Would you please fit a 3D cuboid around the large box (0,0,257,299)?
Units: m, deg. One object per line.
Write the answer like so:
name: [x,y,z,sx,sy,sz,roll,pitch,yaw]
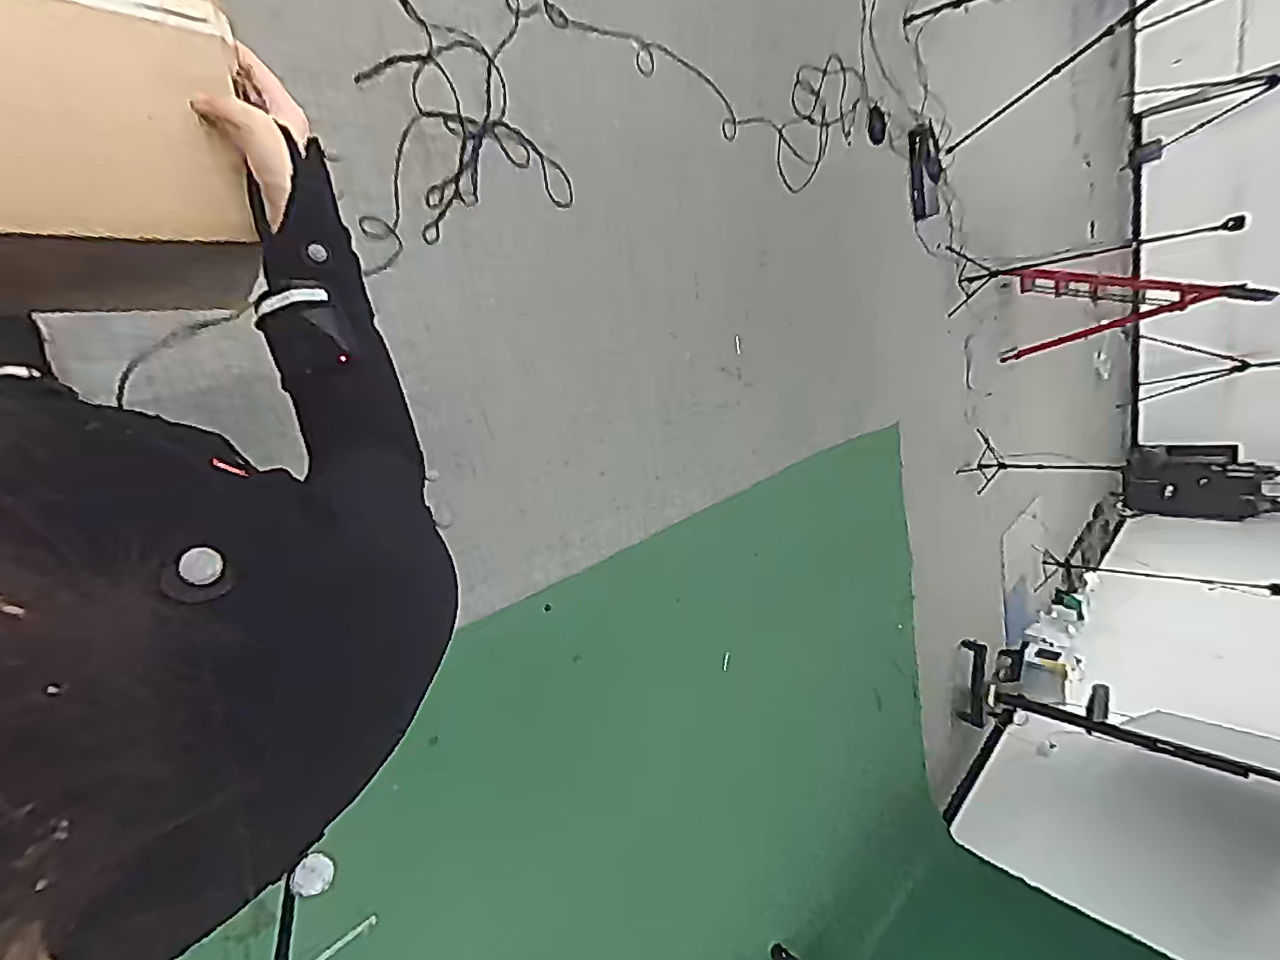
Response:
large box: [-0.578,-0.319,0.413,0.408,0.320,0.320,-16,104,-36]
